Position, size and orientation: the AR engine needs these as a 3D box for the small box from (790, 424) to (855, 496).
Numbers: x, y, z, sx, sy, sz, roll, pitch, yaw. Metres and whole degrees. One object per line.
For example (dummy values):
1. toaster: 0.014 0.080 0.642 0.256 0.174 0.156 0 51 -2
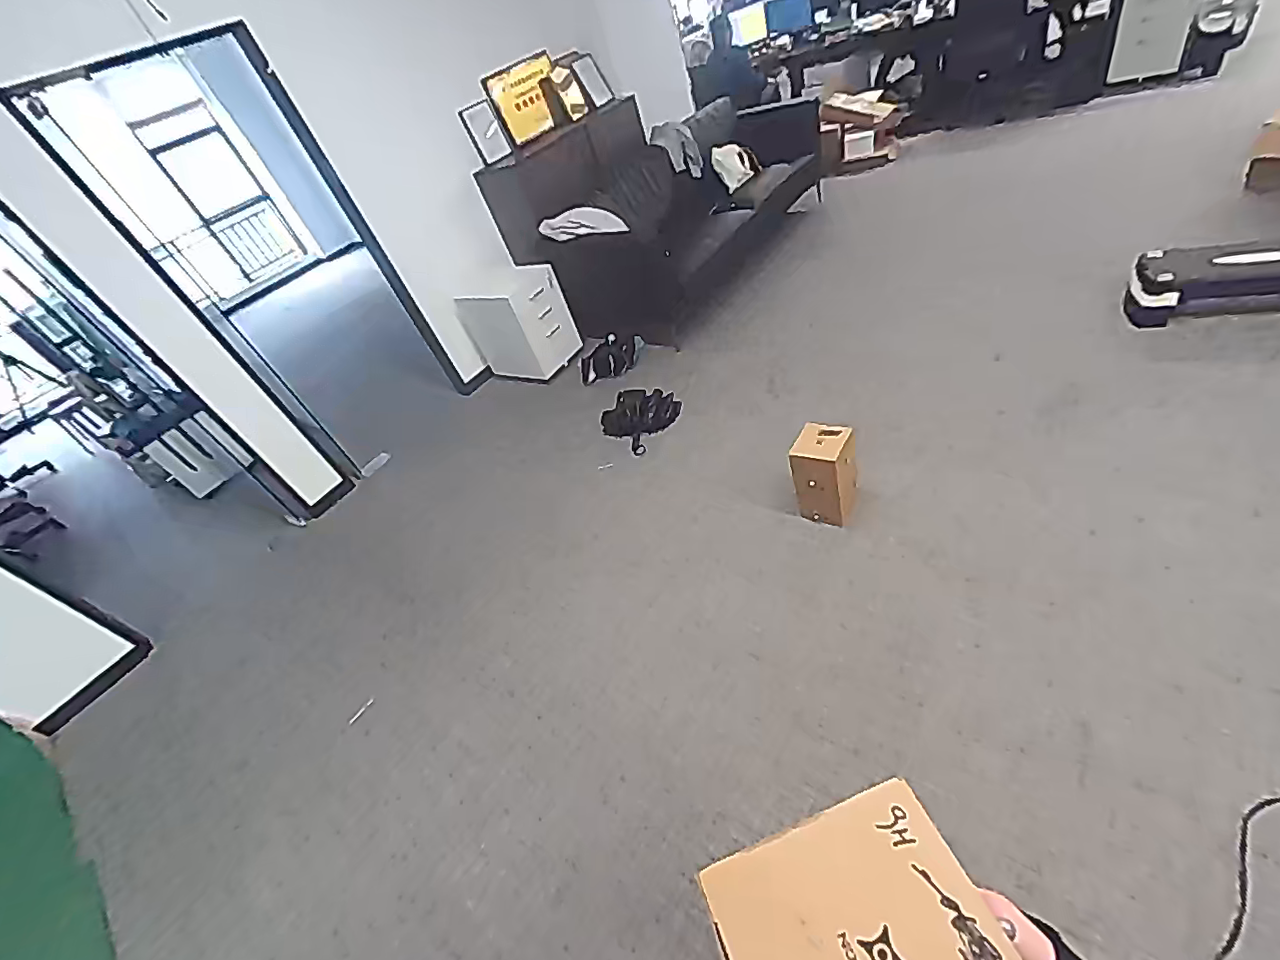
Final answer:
1. small box: 0.644 -0.072 1.898 0.168 0.176 0.179 12 51 37

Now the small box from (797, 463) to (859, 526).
1. small box: 0.701 0.041 2.002 0.168 0.176 0.179 12 52 37
